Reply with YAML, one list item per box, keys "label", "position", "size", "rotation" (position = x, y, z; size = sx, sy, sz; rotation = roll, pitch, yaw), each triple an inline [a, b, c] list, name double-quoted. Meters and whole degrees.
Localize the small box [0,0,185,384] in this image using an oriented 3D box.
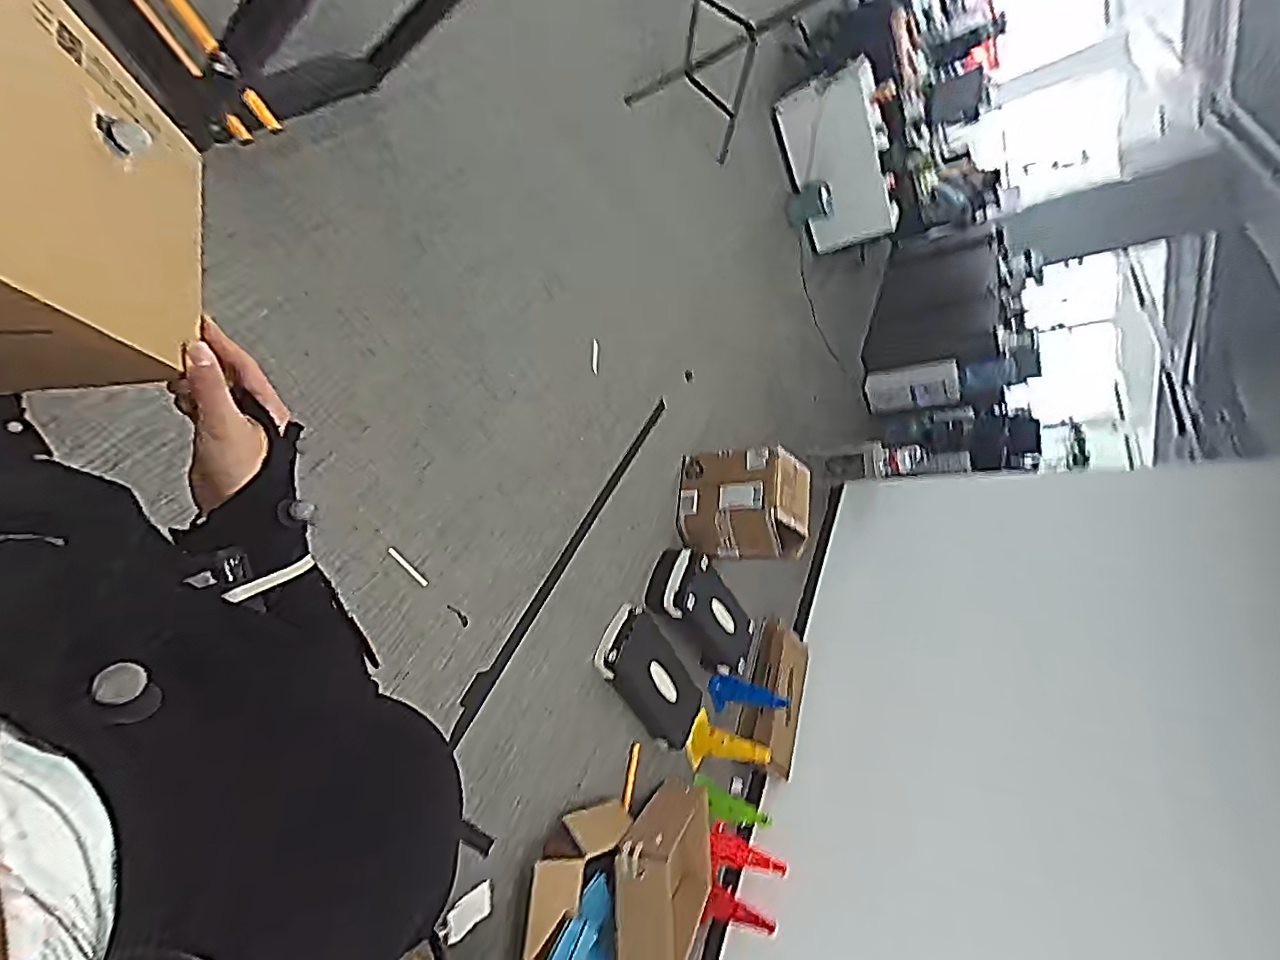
- label: "small box"
  position: [-0.375, -0.156, 0.271]
  size: [0.179, 0.168, 0.176]
  rotation: [-6, 83, -10]
